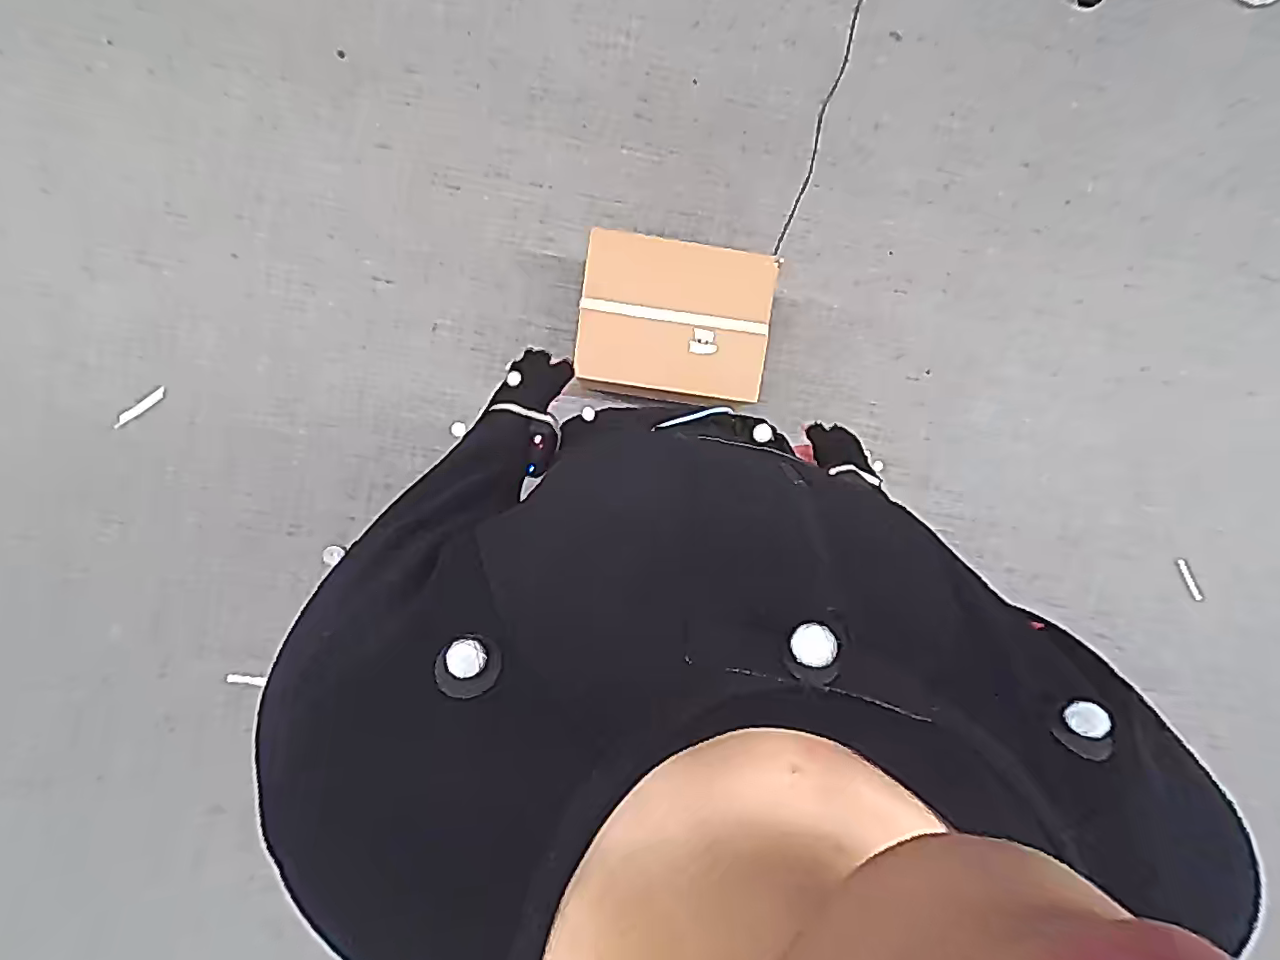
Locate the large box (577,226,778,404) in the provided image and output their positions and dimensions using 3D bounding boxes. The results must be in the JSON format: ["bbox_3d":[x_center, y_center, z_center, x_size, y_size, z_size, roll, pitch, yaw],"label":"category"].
[{"bbox_3d":[0.071,-0.370,1.303,0.408,0.320,0.320,9,96,-3],"label":"large box"}]
